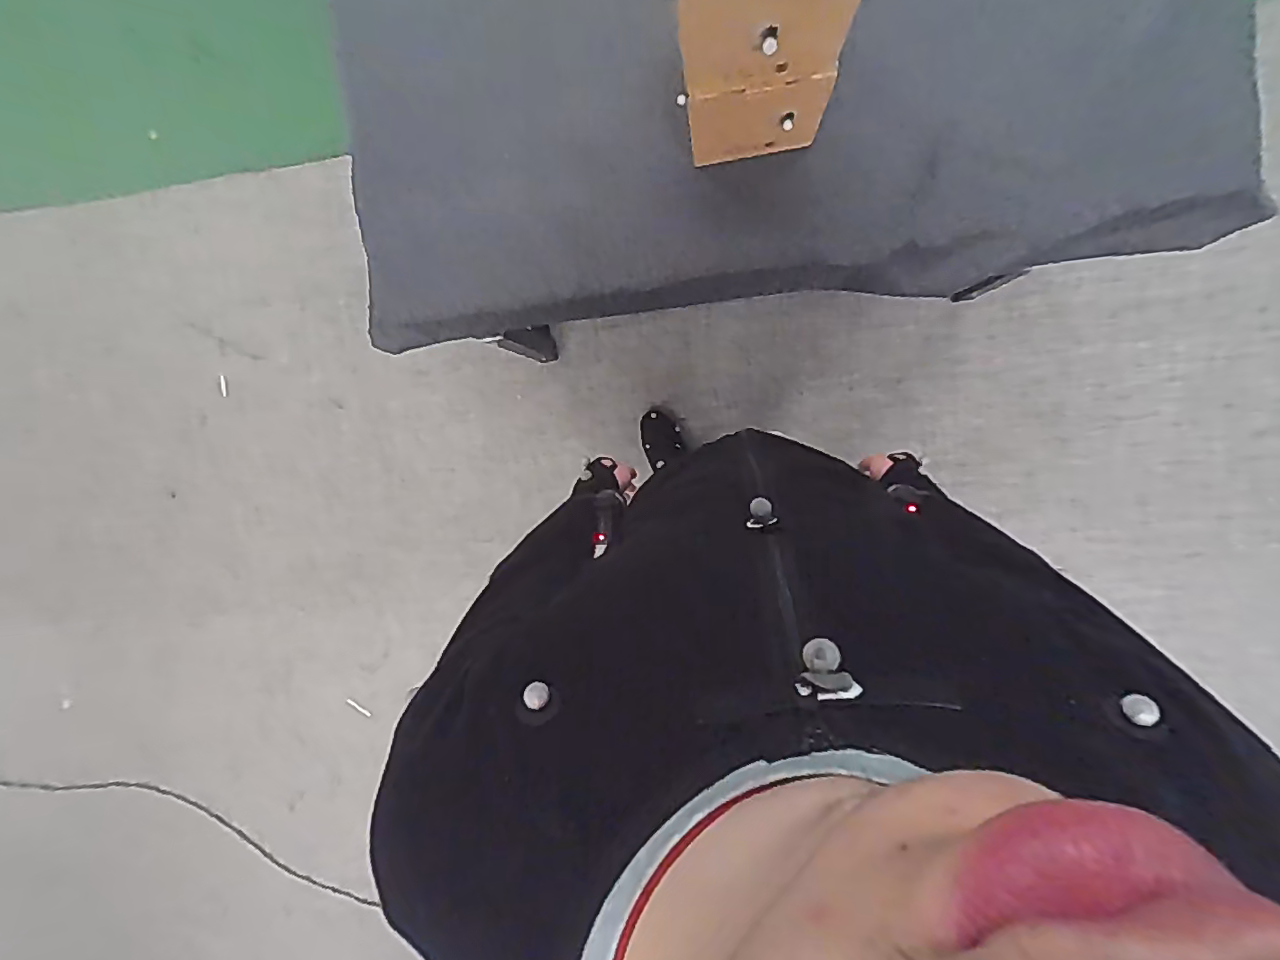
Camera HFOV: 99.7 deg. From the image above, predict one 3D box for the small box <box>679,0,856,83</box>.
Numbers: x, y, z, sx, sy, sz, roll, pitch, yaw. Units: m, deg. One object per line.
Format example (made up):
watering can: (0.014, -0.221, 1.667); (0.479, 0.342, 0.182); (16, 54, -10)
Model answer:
small box: (0.120, -0.522, 0.521); (0.168, 0.176, 0.179); (-6, 97, 5)

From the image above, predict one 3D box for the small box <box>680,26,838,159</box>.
small box: (0.141, -0.536, 0.684); (0.168, 0.176, 0.179); (-7, 94, 6)
